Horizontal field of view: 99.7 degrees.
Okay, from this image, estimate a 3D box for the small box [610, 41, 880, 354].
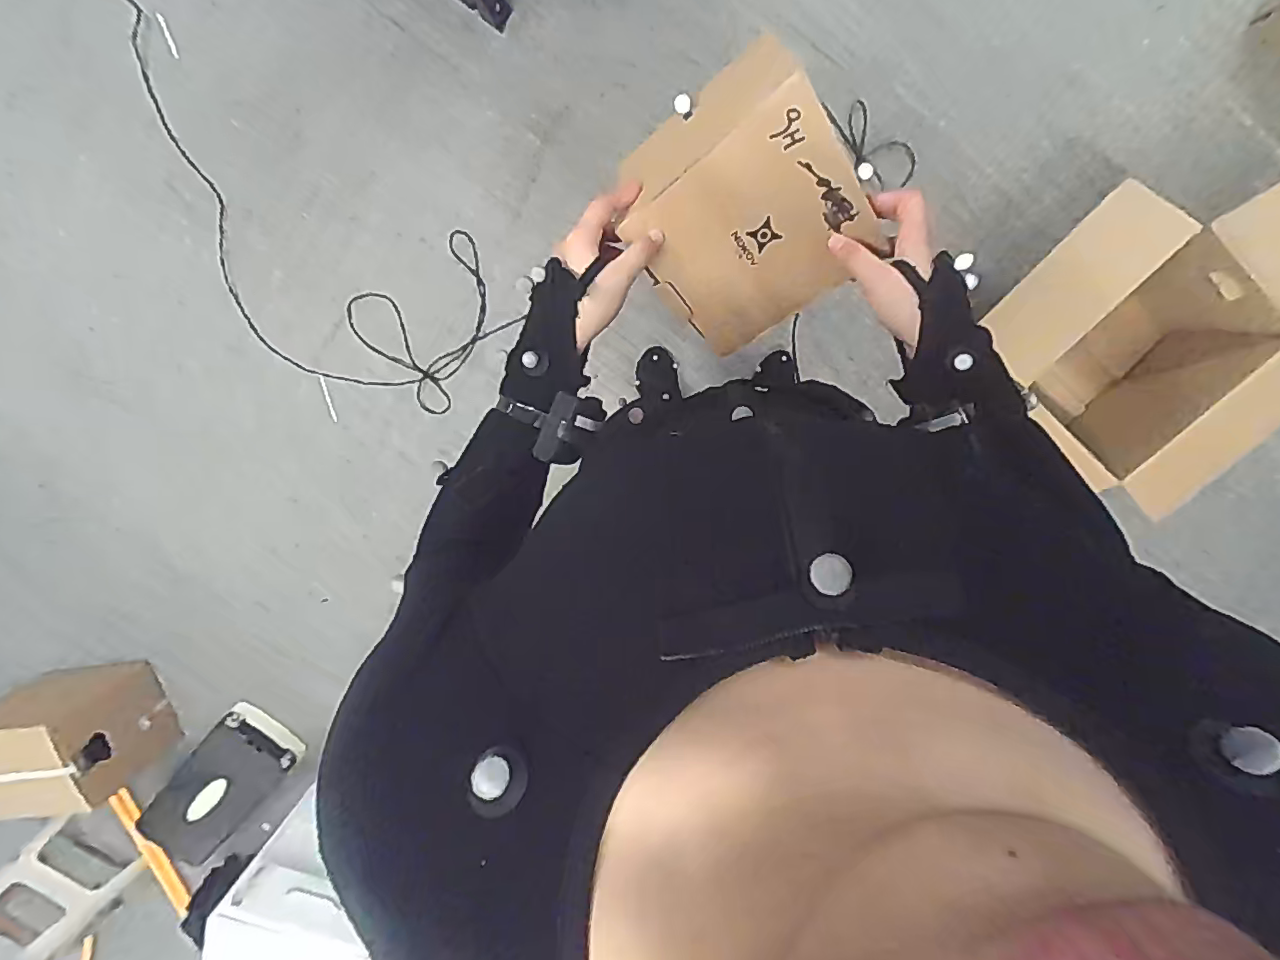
[{"bbox_3d":[0.093,-0.262,0.514,0.179,0.176,0.168,-29,129,28],"label":"small box"}]
